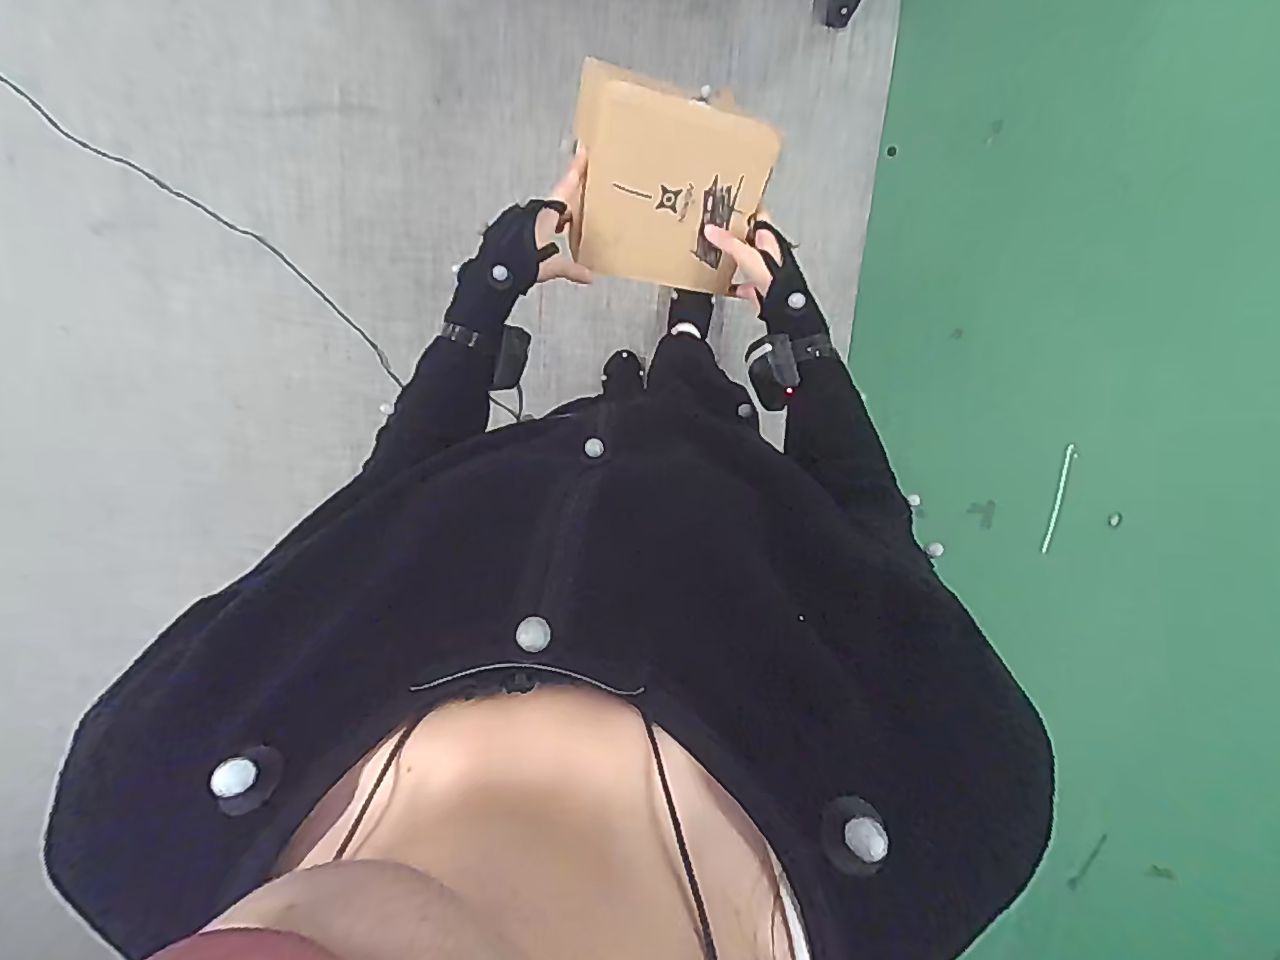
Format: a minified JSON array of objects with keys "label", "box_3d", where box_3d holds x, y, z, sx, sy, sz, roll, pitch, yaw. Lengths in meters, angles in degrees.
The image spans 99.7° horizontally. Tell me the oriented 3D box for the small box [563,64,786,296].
[{"label":"small box","box_3d":[0.021,-0.324,0.586,0.179,0.176,0.168,4,131,-18]}]
